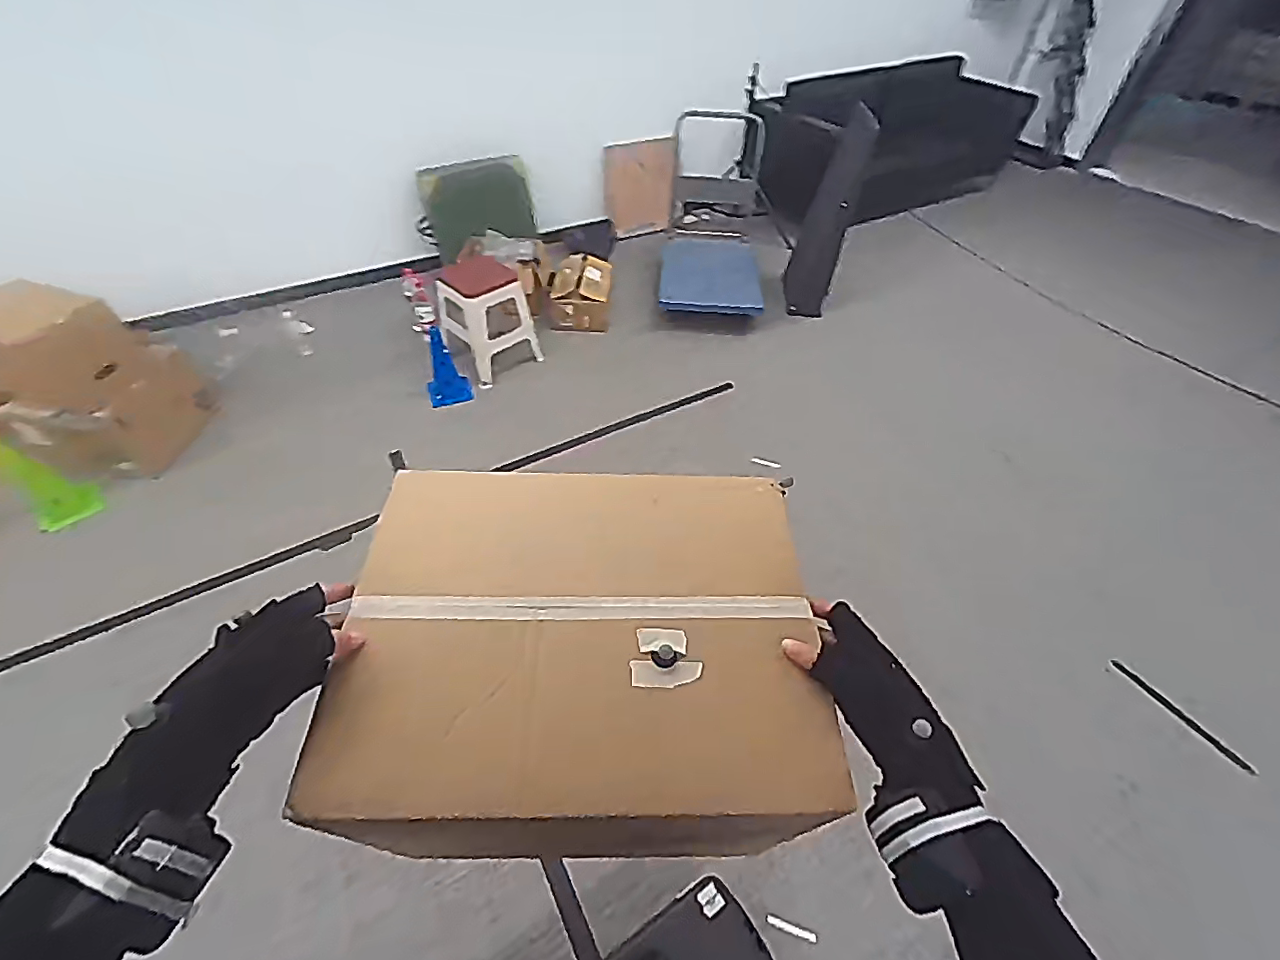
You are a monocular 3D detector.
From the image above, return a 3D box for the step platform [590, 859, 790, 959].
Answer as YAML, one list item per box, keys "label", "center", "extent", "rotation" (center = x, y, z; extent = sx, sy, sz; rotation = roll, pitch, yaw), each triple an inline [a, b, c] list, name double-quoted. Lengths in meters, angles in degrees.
- label: "step platform"
  center: [-0.007, 1.129, 1.117]
  extent: [0.684, 0.204, 0.286]
  rotation: [-24, 52, -23]

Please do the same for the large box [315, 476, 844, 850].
- label: "large box"
  center: [-0.053, 0.212, 0.608]
  extent: [0.408, 0.320, 0.320]
  rotation: [2, 51, -3]
